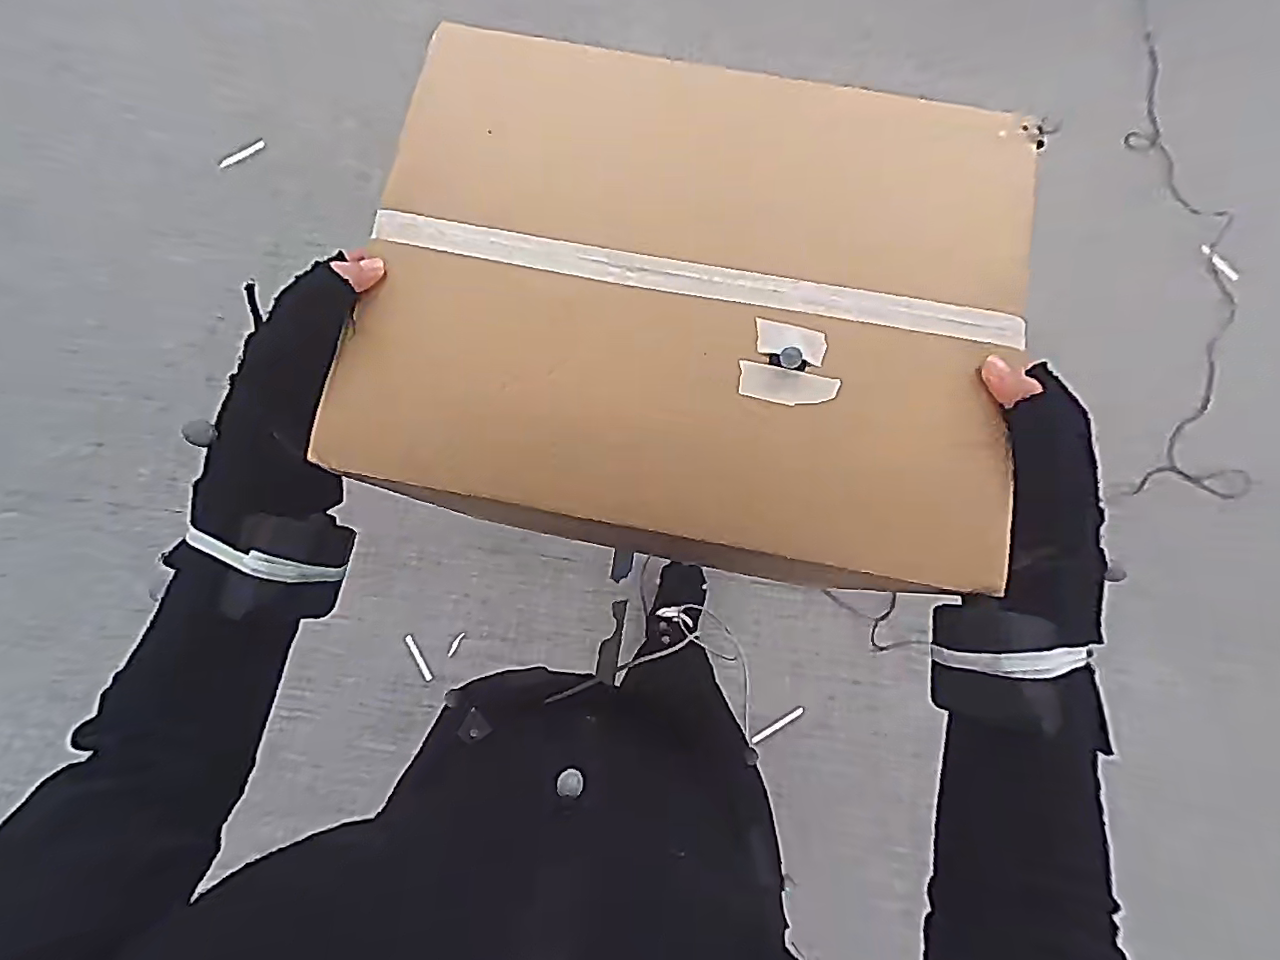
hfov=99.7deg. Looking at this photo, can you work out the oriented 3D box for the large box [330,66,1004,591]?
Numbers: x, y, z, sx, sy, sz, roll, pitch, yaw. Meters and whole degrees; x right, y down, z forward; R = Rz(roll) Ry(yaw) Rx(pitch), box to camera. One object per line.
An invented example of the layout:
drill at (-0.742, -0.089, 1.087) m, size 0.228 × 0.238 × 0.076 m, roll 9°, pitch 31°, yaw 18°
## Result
large box at (0.027, -0.088, 0.497) m, size 0.408 × 0.320 × 0.320 m, roll 11°, pitch 81°, yaw 2°
